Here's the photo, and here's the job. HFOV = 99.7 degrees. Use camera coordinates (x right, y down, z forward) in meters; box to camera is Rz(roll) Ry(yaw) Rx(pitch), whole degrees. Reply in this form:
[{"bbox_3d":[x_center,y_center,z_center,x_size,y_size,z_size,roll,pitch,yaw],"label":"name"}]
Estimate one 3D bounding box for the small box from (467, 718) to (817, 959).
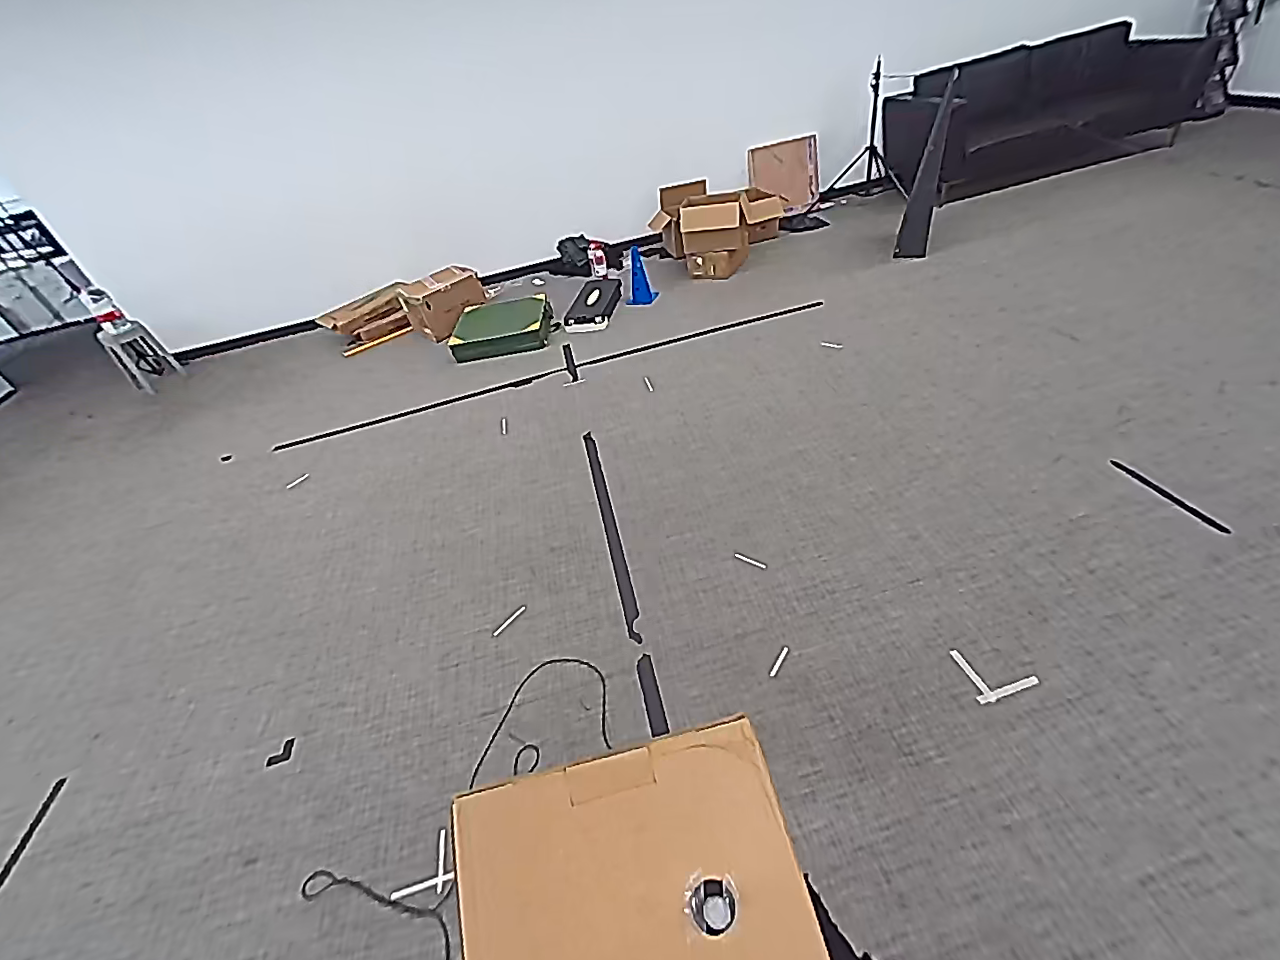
[{"bbox_3d":[0.002,0.265,0.345,0.168,0.179,0.176,-12,65,-7],"label":"small box"}]
